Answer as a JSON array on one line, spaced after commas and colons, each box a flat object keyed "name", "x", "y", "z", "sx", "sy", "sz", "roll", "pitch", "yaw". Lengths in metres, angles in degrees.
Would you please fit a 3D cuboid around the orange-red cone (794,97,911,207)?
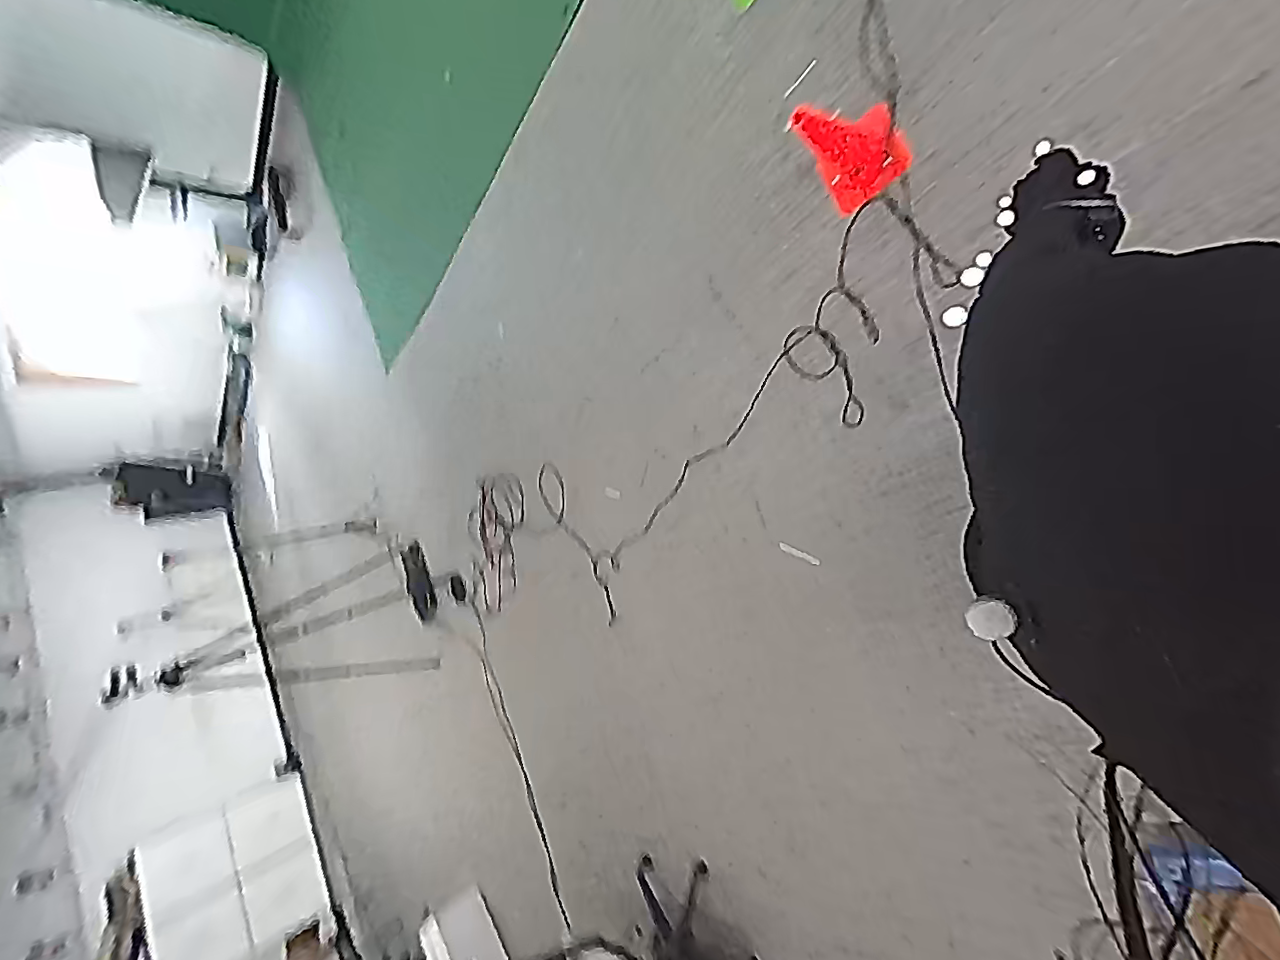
[{"name": "orange-red cone", "x": 0.476, "y": -0.842, "z": 1.314, "sx": 0.198, "sy": 0.360, "sz": 0.199, "roll": -28, "pitch": 76, "yaw": 43}]
